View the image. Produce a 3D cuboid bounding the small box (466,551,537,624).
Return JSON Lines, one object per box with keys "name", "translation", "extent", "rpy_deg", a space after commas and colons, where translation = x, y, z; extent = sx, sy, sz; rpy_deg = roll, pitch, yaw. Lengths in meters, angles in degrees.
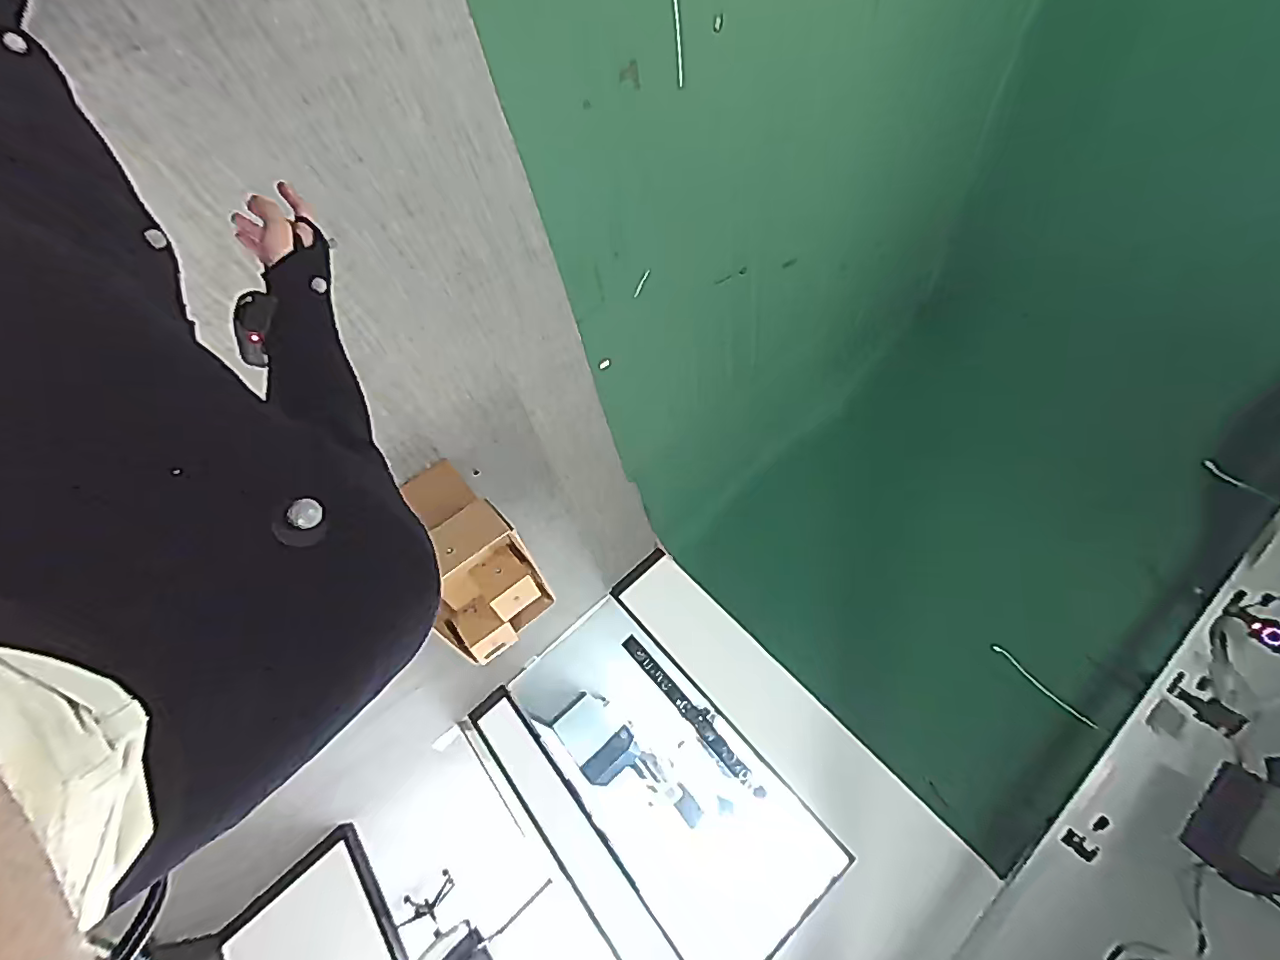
{"name": "small box", "translation": [-0.508, 0.387, 1.976], "extent": [0.168, 0.176, 0.179], "rpy_deg": [-35, 148, -18]}
